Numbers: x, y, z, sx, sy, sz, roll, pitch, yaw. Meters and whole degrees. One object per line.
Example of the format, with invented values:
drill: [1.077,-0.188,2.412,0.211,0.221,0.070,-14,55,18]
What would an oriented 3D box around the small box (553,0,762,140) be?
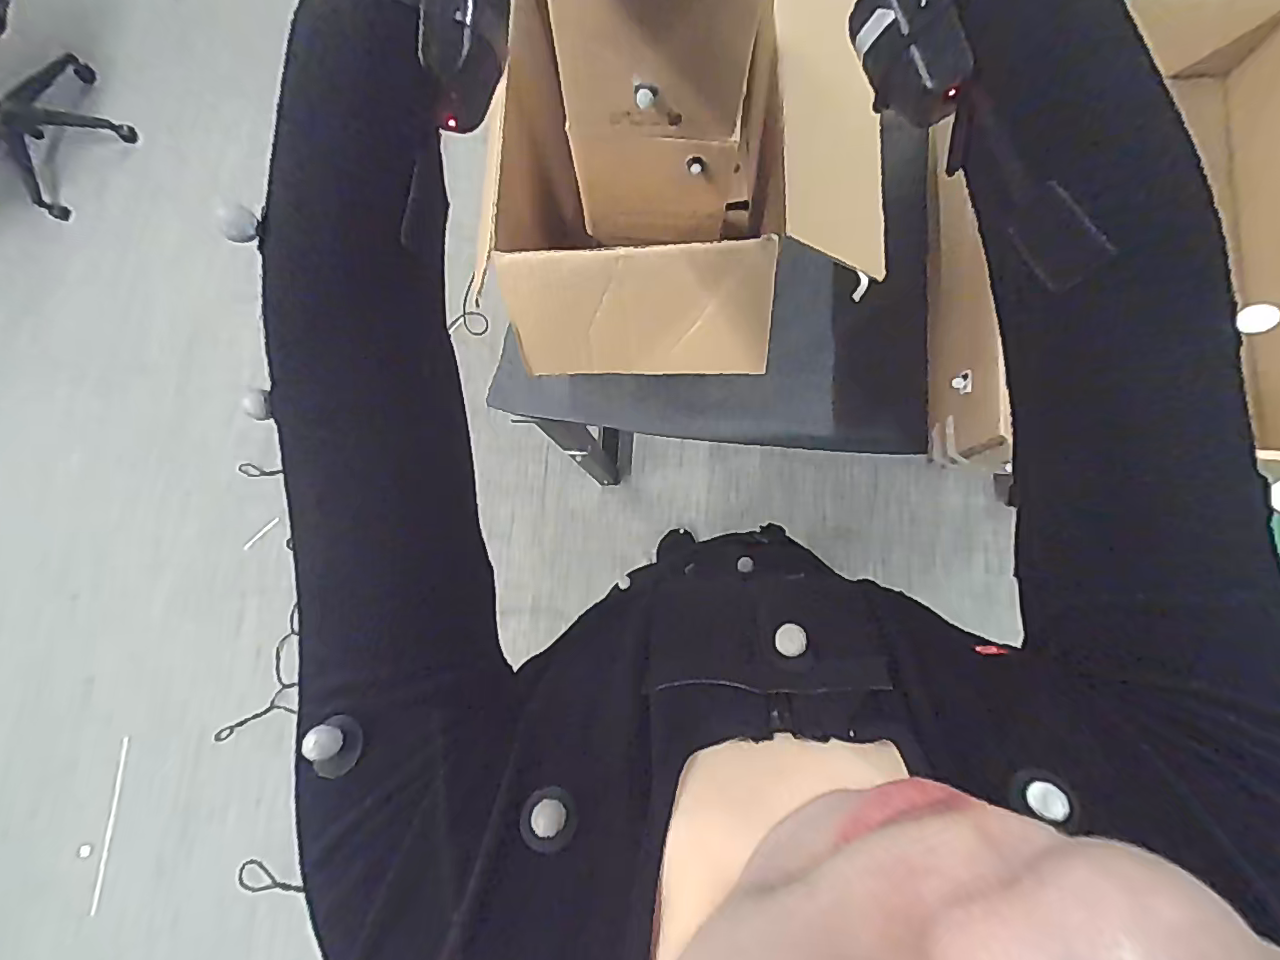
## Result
small box: [0.015,-0.439,0.470,0.168,0.176,0.179,2,80,1]
